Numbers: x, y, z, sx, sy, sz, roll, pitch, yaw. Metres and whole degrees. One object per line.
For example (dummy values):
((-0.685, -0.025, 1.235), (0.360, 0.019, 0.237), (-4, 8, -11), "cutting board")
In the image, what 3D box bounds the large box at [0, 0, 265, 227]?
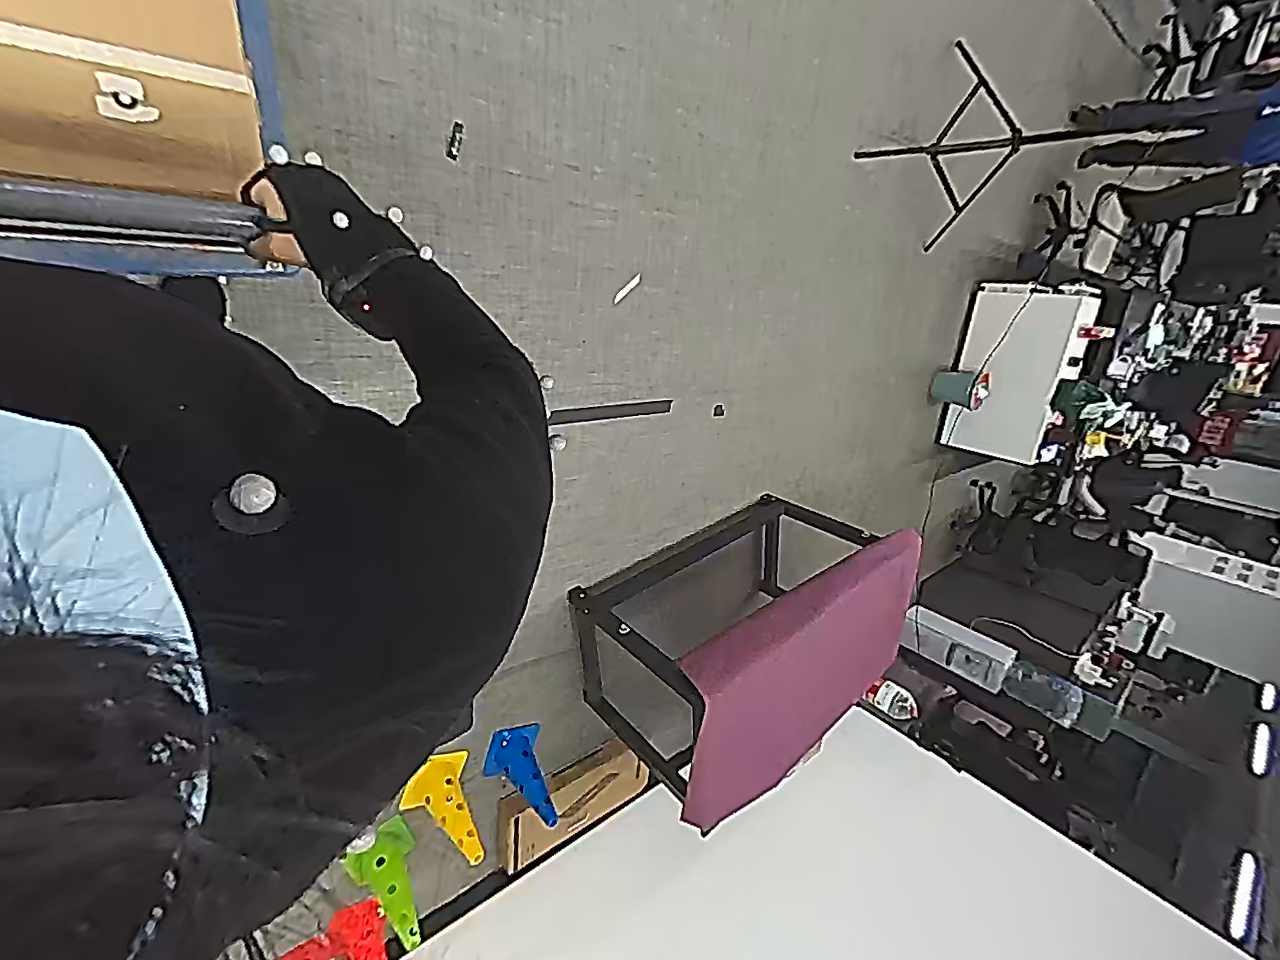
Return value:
((-0.787, -0.531, 0.719), (0.408, 0.320, 0.320), (-14, 116, -39), "large box")
